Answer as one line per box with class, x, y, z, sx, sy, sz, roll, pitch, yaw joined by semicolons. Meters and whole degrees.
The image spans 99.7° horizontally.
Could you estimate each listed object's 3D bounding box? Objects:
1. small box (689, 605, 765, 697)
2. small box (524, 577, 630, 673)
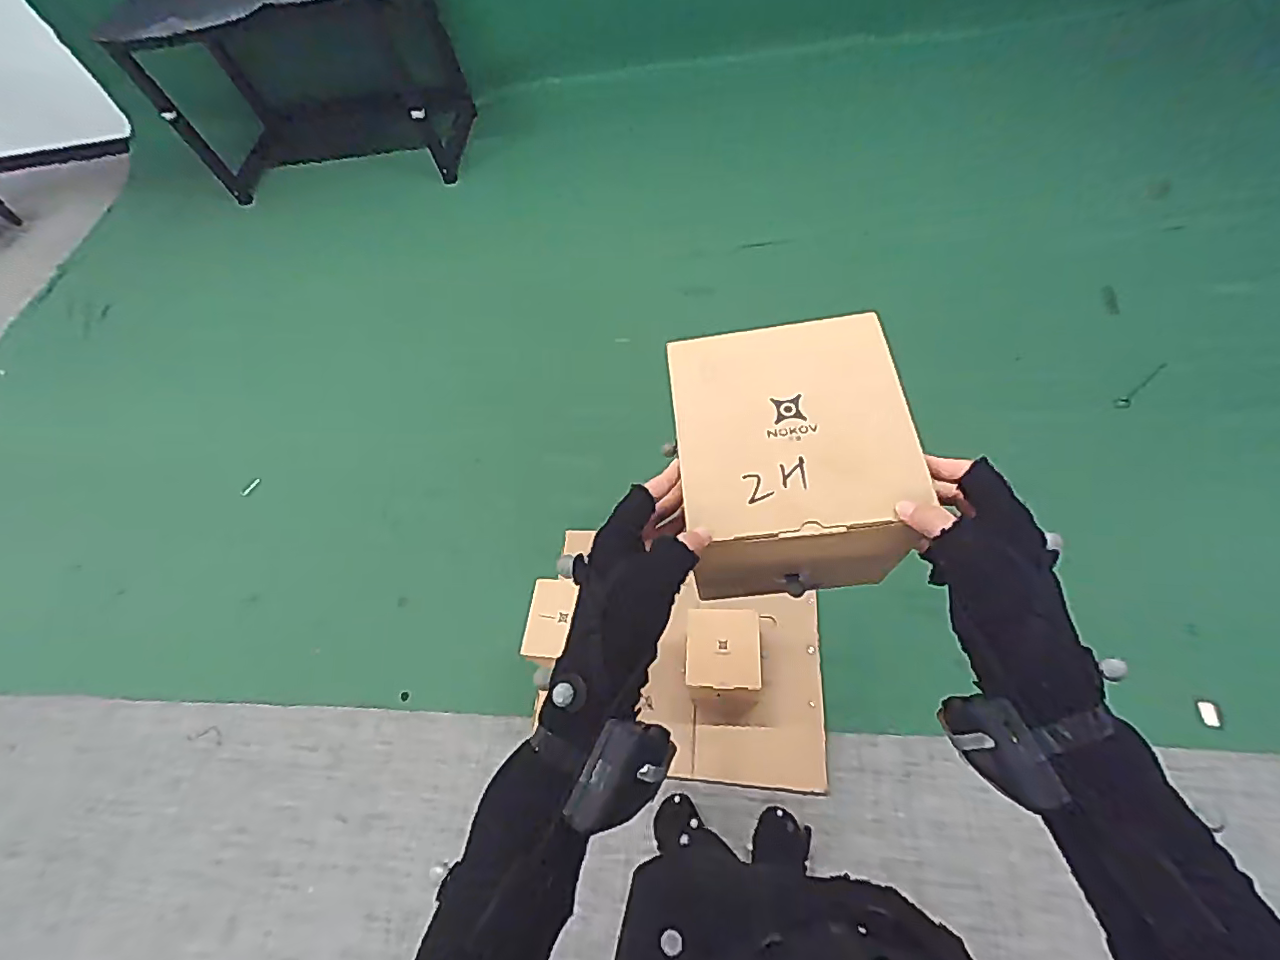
small box;0.205;0.405;1.276;0.168;0.176;0.179;-2;62;10
small box;-0.128;0.323;1.190;0.179;0.176;0.168;1;62;14
